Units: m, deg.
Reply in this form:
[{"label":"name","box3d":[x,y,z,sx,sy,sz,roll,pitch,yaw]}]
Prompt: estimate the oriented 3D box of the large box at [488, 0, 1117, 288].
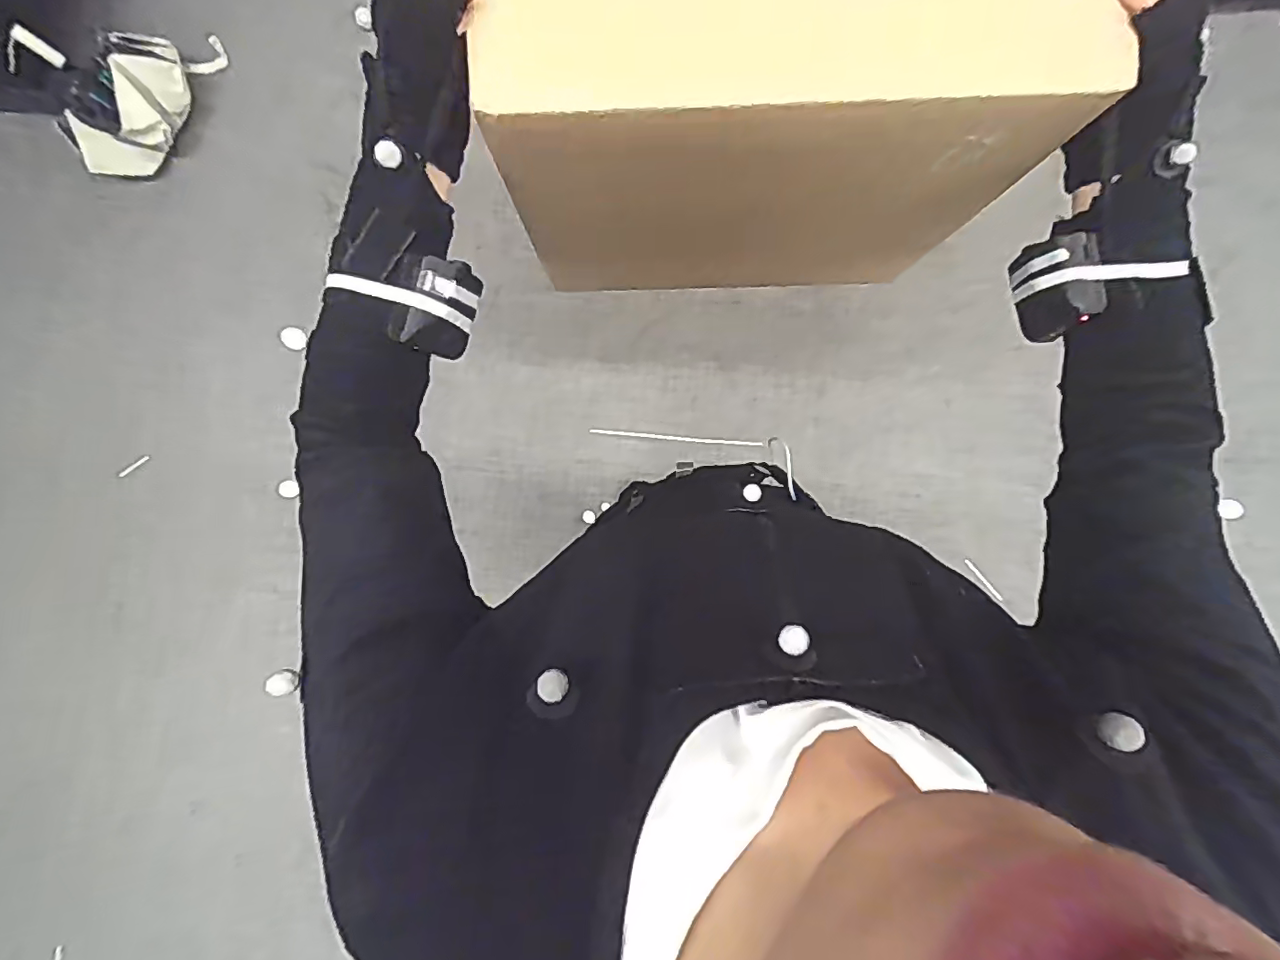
[{"label":"large box","box3d":[0.094,-0.389,0.491,0.408,0.320,0.320,-3,90,-1]}]
